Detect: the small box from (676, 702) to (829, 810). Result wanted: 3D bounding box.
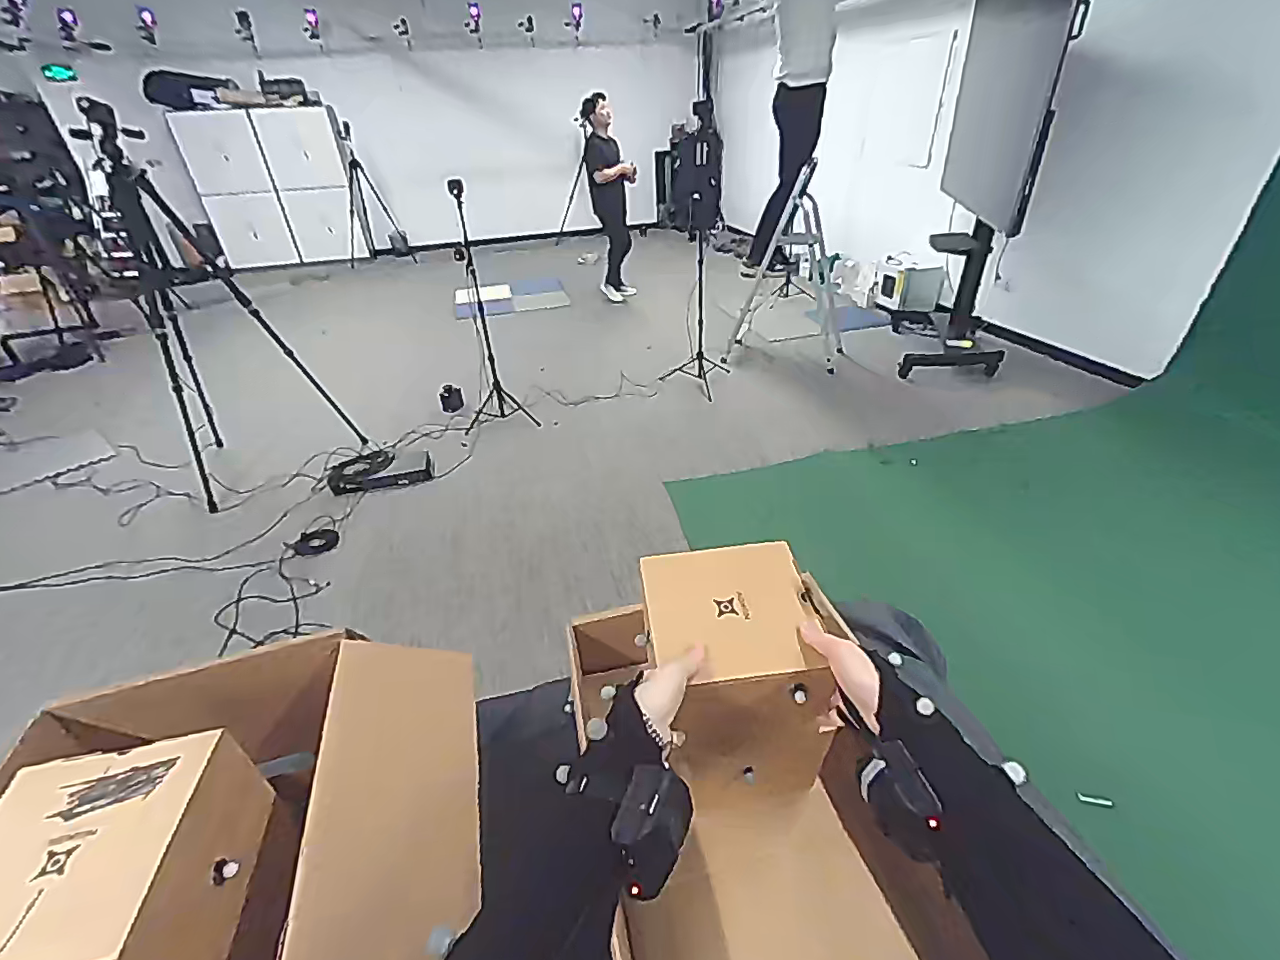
[{"bbox_3d":[0.128,0.317,0.732,0.179,0.176,0.168,-9,41,-7],"label":"small box"}]

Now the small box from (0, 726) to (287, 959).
[{"bbox_3d":[-0.446,0.355,0.475,0.168,0.176,0.179,-8,36,-9],"label":"small box"}]

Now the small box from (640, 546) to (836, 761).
[{"bbox_3d":[0.098,0.200,0.621,0.179,0.176,0.168,-5,41,-4],"label":"small box"}]
